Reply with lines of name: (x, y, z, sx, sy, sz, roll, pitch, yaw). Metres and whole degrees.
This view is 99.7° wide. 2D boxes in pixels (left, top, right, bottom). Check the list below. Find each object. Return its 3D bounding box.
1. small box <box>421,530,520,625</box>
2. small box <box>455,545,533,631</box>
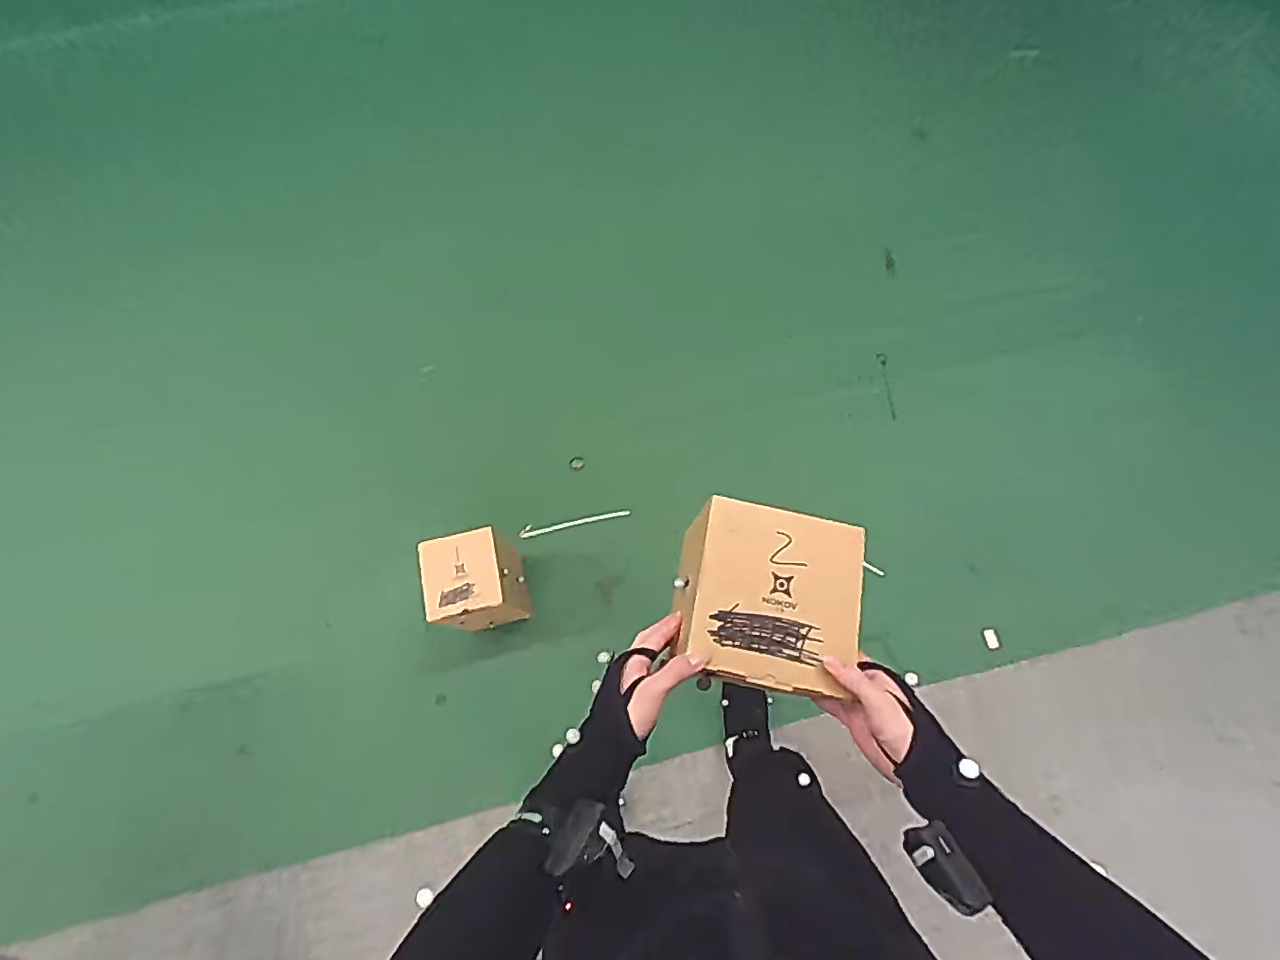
small box: (-0.384, 0.232, 1.245, 0.168, 0.176, 0.179, -13, 72, -5)
small box: (-0.384, 0.284, 1.400, 0.168, 0.176, 0.179, -13, 72, -4)
